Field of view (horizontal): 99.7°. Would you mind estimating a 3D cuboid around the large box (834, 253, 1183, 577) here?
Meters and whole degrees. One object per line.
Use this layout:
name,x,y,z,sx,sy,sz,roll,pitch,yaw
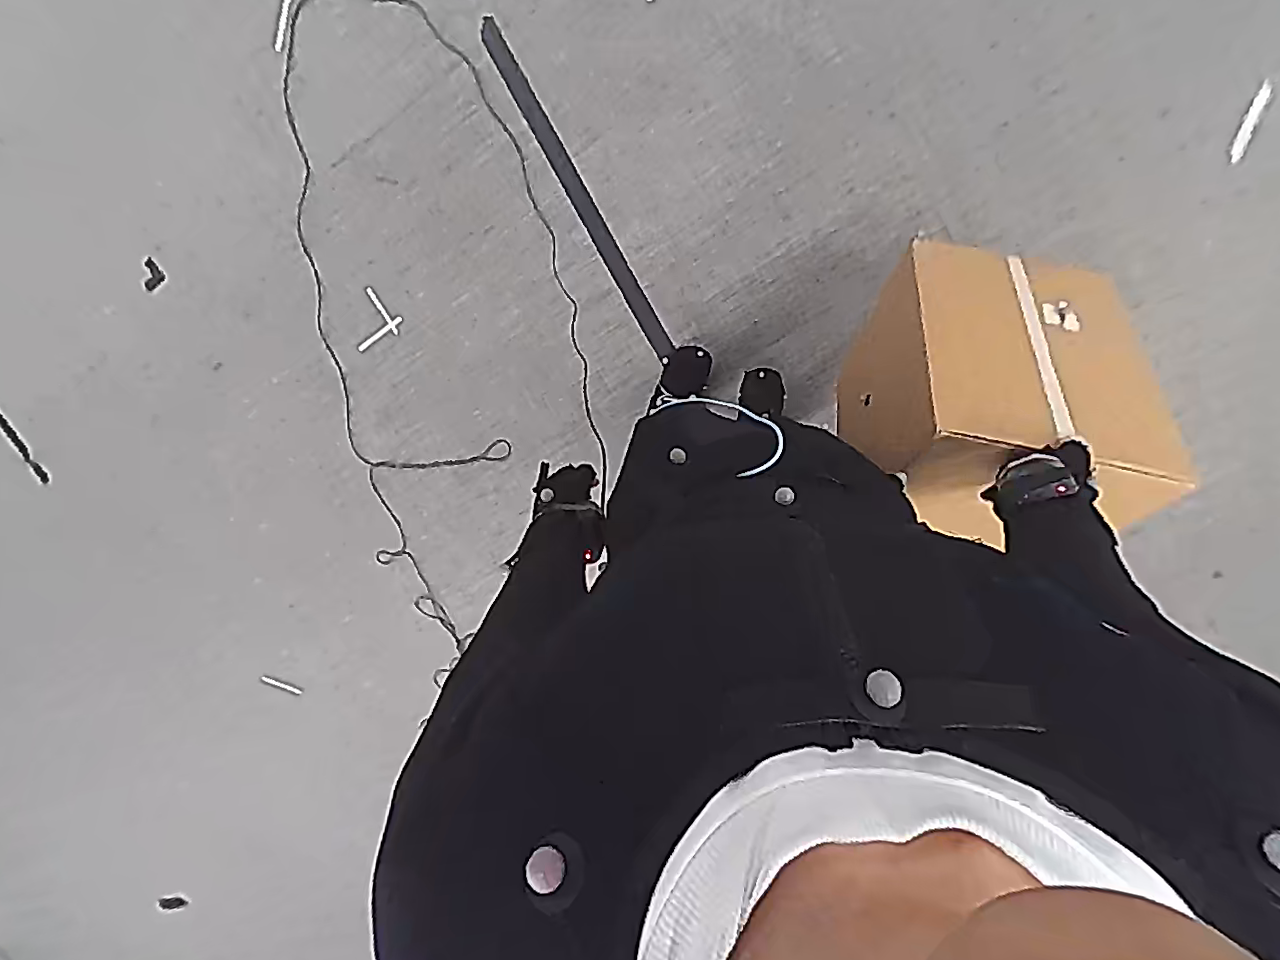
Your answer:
large box,0.531,-0.102,0.892,0.320,0.408,0.320,12,145,1
